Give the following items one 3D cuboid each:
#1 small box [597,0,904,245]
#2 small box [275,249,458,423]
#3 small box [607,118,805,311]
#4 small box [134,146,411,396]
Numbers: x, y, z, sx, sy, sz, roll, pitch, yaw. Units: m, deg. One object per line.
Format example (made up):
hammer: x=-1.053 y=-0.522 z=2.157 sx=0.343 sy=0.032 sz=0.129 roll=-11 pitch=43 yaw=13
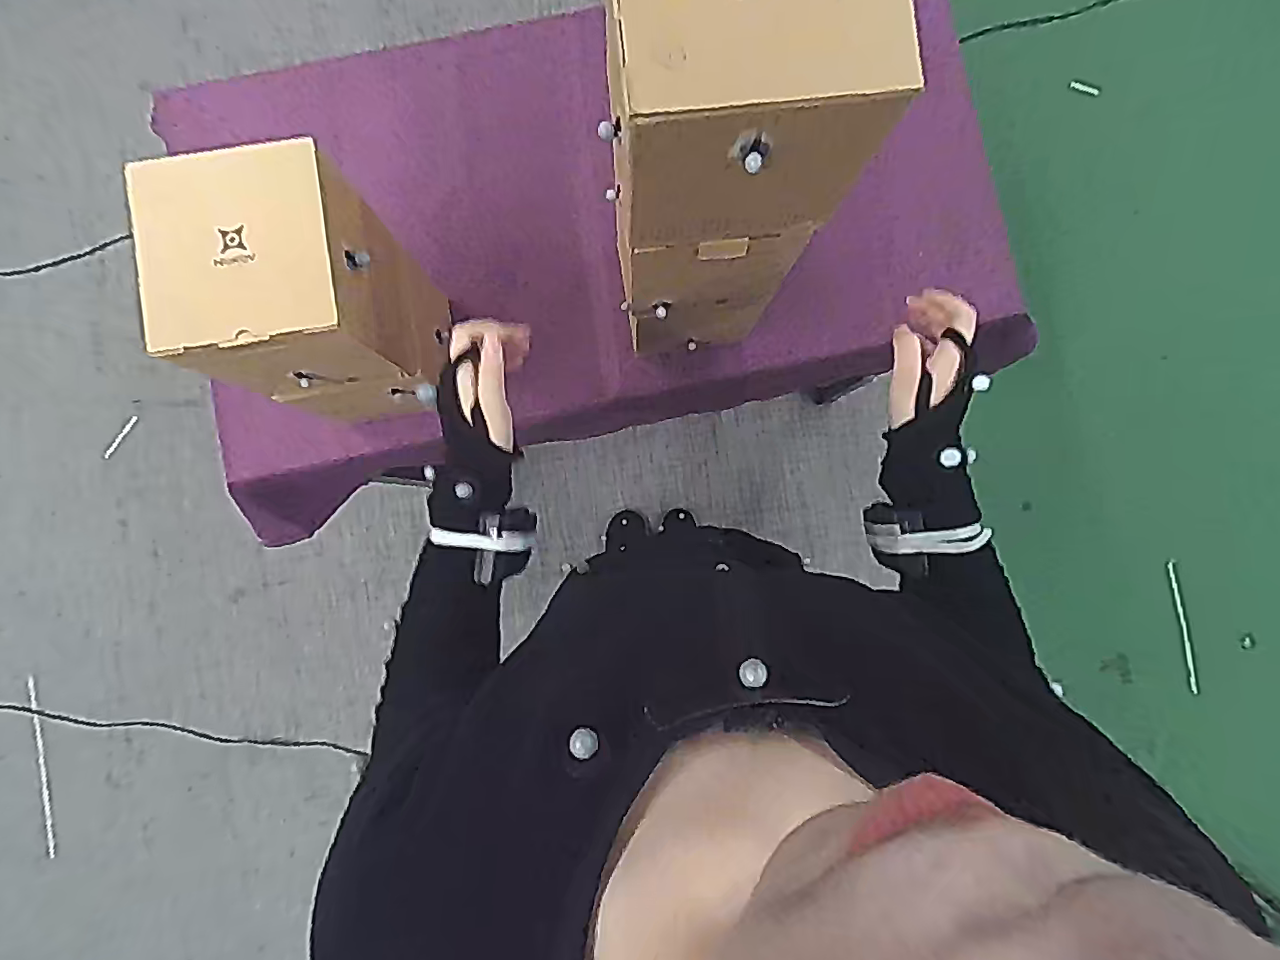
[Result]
small box: x=0.061 y=-0.292 z=0.398 sx=0.179 sy=0.176 sz=0.168 roll=-5 pitch=88 yaw=-1
small box: x=-0.354 y=-0.180 z=0.719 sx=0.179 sy=0.176 sz=0.168 roll=-10 pitch=86 yaw=-1
small box: x=0.059 y=-0.289 z=0.562 sx=0.168 sy=0.176 sz=0.179 roll=-7 pitch=86 yaw=0
small box: x=-0.357 y=-0.199 z=0.557 sx=0.168 sy=0.176 sz=0.179 roll=-9 pitch=87 yaw=-1
